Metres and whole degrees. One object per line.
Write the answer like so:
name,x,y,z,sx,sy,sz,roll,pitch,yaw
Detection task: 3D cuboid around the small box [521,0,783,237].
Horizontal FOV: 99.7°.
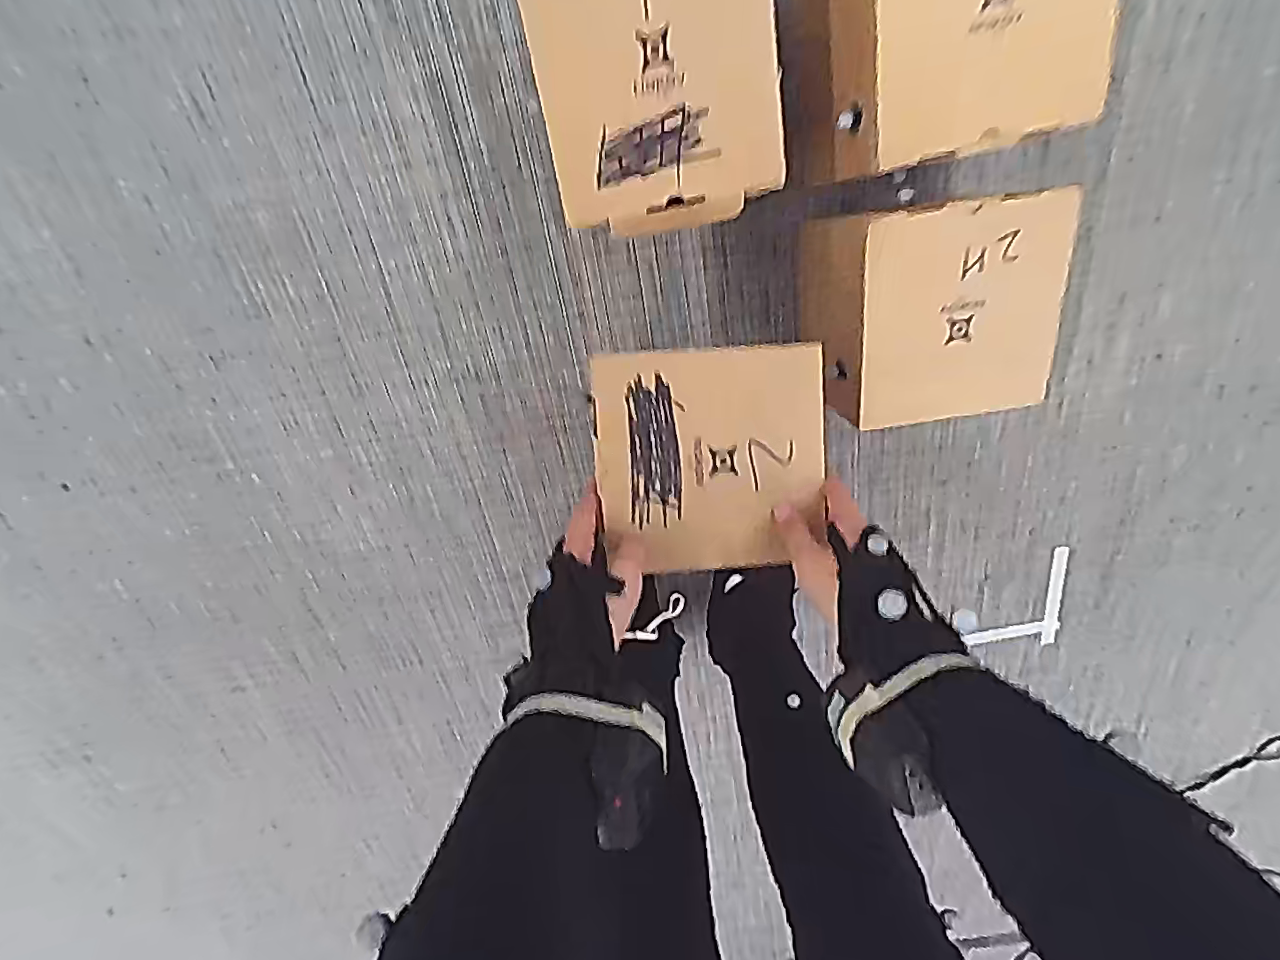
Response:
small box,0.010,-0.306,0.441,0.168,0.176,0.179,-10,113,2
